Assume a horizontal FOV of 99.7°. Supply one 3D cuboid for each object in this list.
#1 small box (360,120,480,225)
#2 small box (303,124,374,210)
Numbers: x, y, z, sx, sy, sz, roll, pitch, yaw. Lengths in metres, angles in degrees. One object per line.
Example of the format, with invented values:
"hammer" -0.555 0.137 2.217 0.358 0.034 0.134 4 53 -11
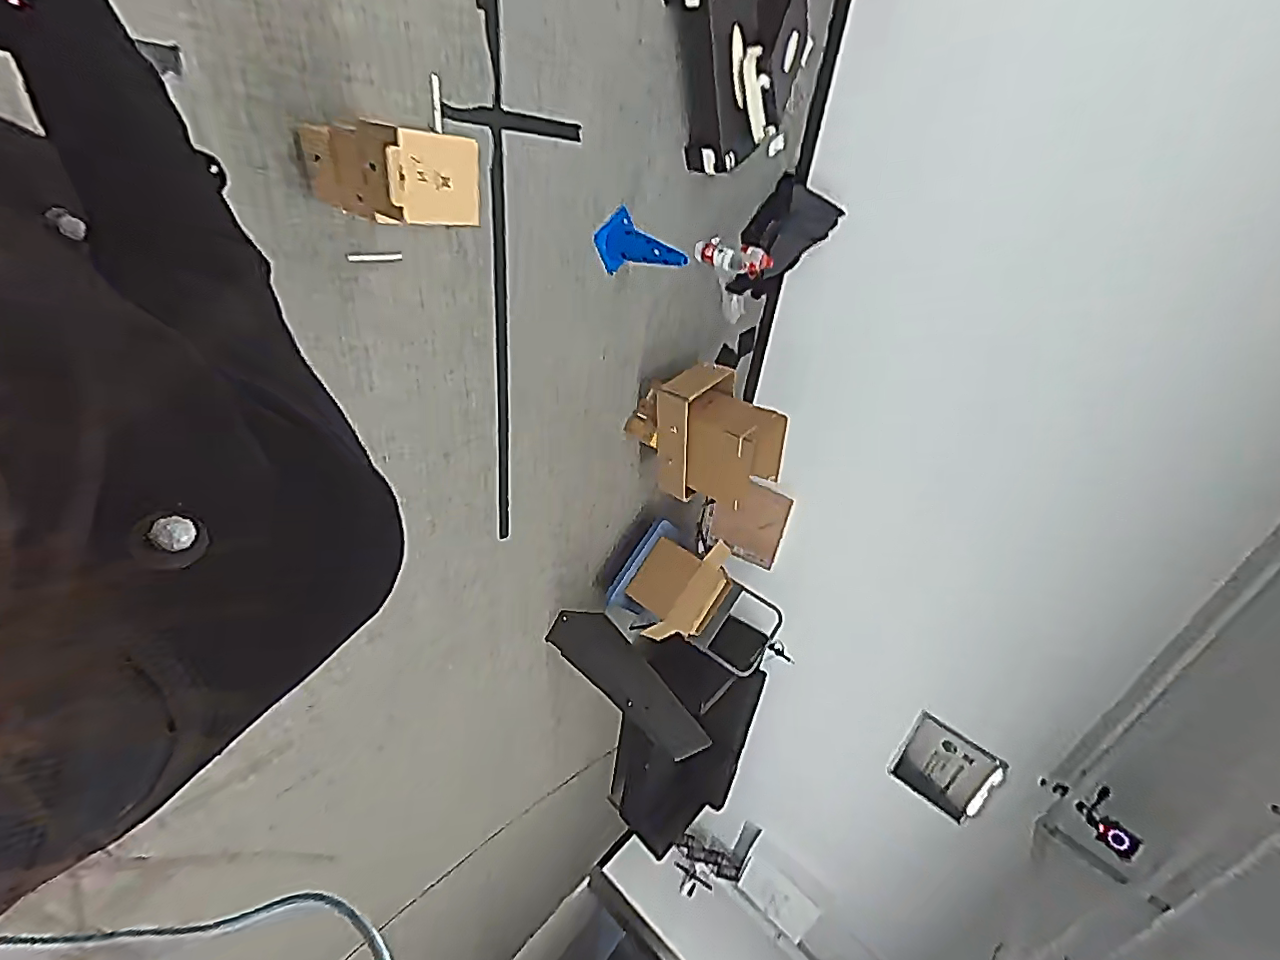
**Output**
"small box" -0.458 -0.645 1.137 0.179 0.176 0.168 -24 134 -43
"small box" -0.699 -0.768 1.329 0.179 0.176 0.168 -29 137 -40
